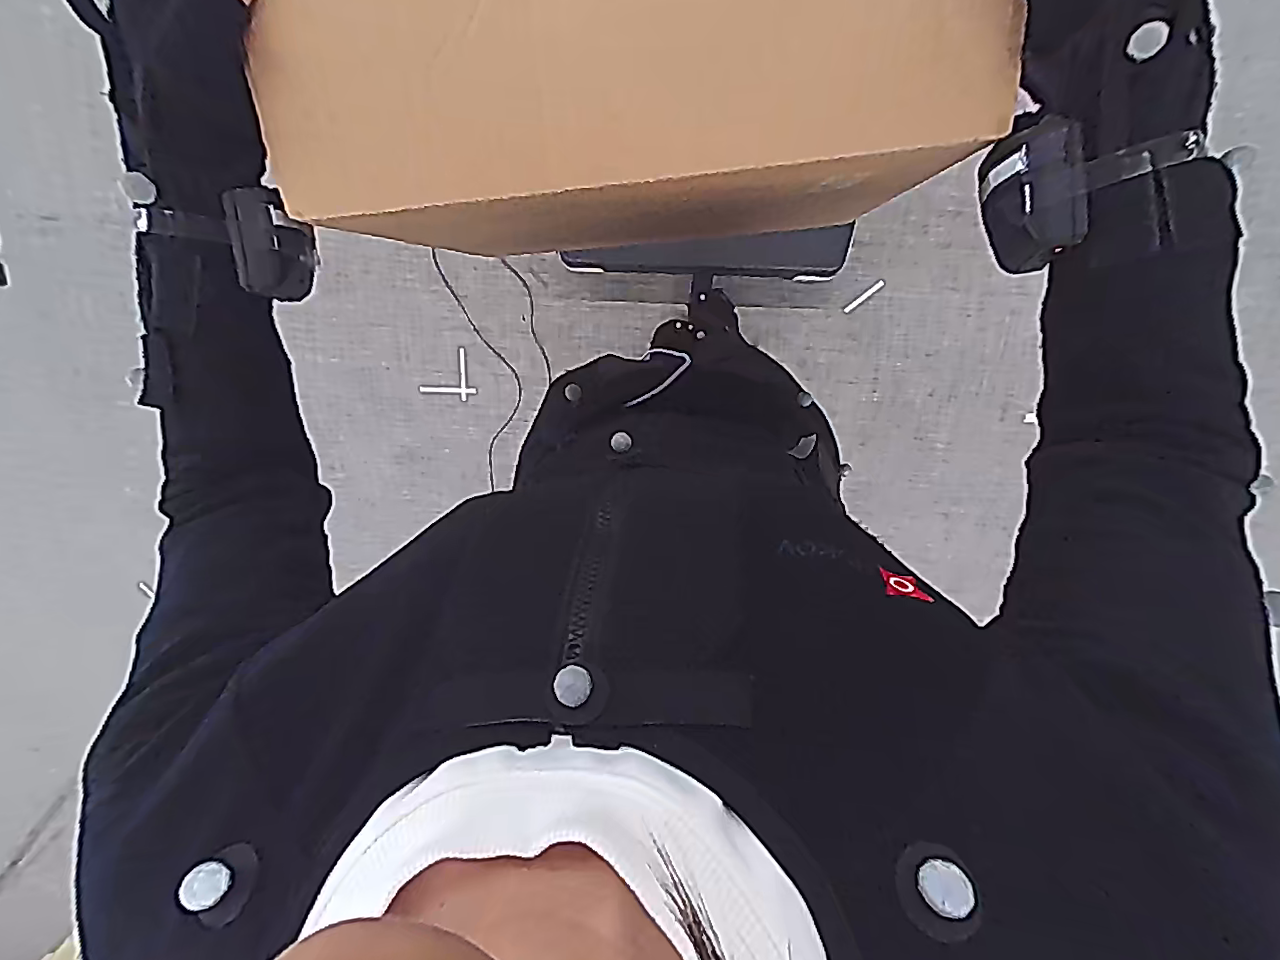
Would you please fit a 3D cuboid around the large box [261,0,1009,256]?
[{"bbox_3d":[-0.007,-0.369,0.408,0.408,0.320,0.320,-4,109,7],"label":"large box"}]
